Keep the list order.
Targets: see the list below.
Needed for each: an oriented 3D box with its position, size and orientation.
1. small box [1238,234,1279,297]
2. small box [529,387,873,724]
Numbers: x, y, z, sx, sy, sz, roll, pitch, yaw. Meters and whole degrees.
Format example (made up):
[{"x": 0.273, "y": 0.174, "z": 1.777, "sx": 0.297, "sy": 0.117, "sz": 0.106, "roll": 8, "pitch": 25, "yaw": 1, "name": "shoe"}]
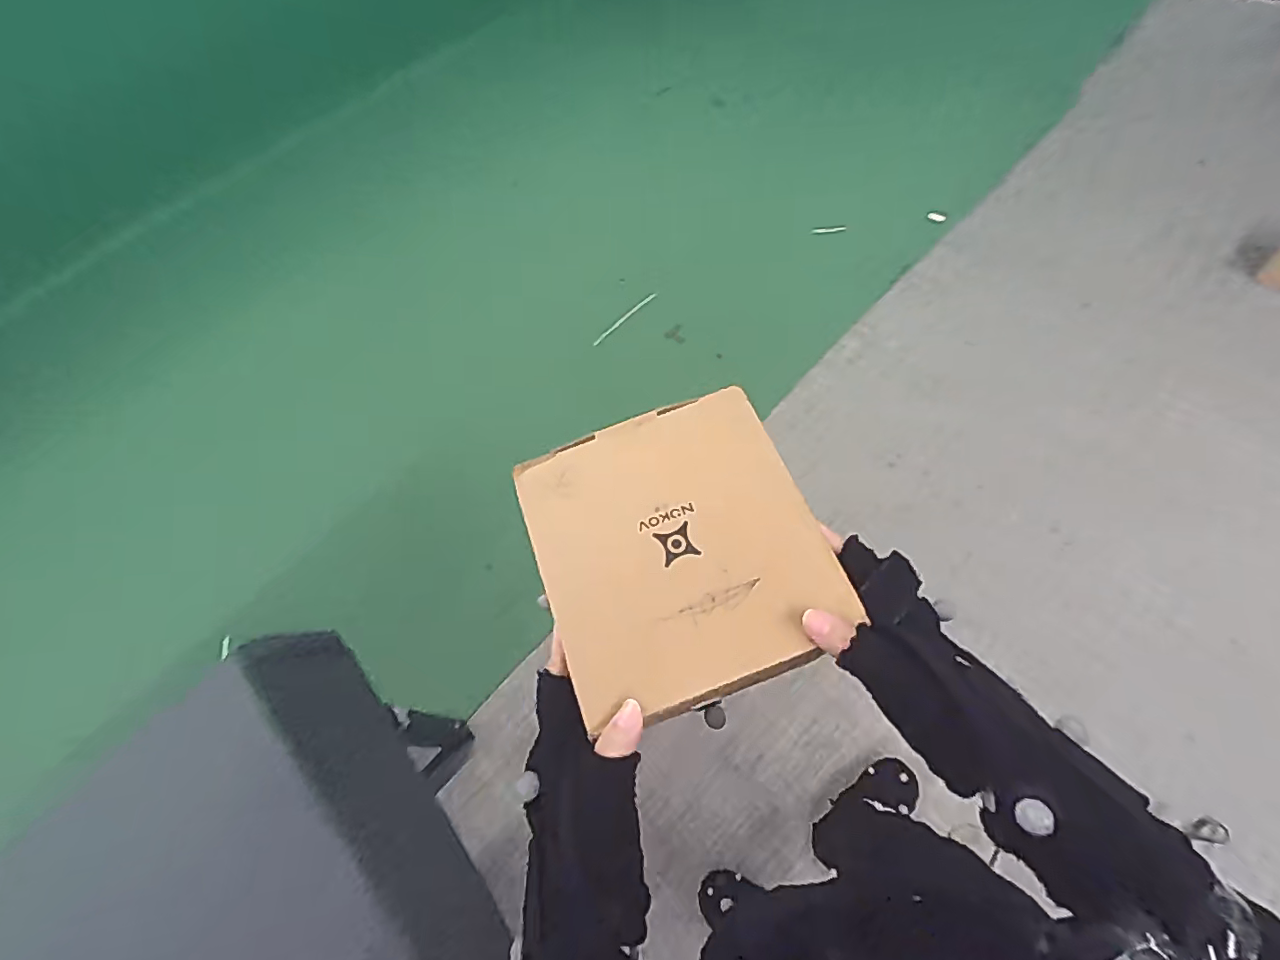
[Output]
[{"x": 1.903, "y": -0.638, "z": 1.540, "sx": 0.168, "sy": 0.176, "sz": 0.179, "roll": -42, "pitch": 63, "yaw": -14, "name": "small box"}, {"x": 0.034, "y": 0.067, "z": 0.404, "sx": 0.168, "sy": 0.176, "sz": 0.179, "roll": -20, "pitch": 65, "yaw": -4, "name": "small box"}]
